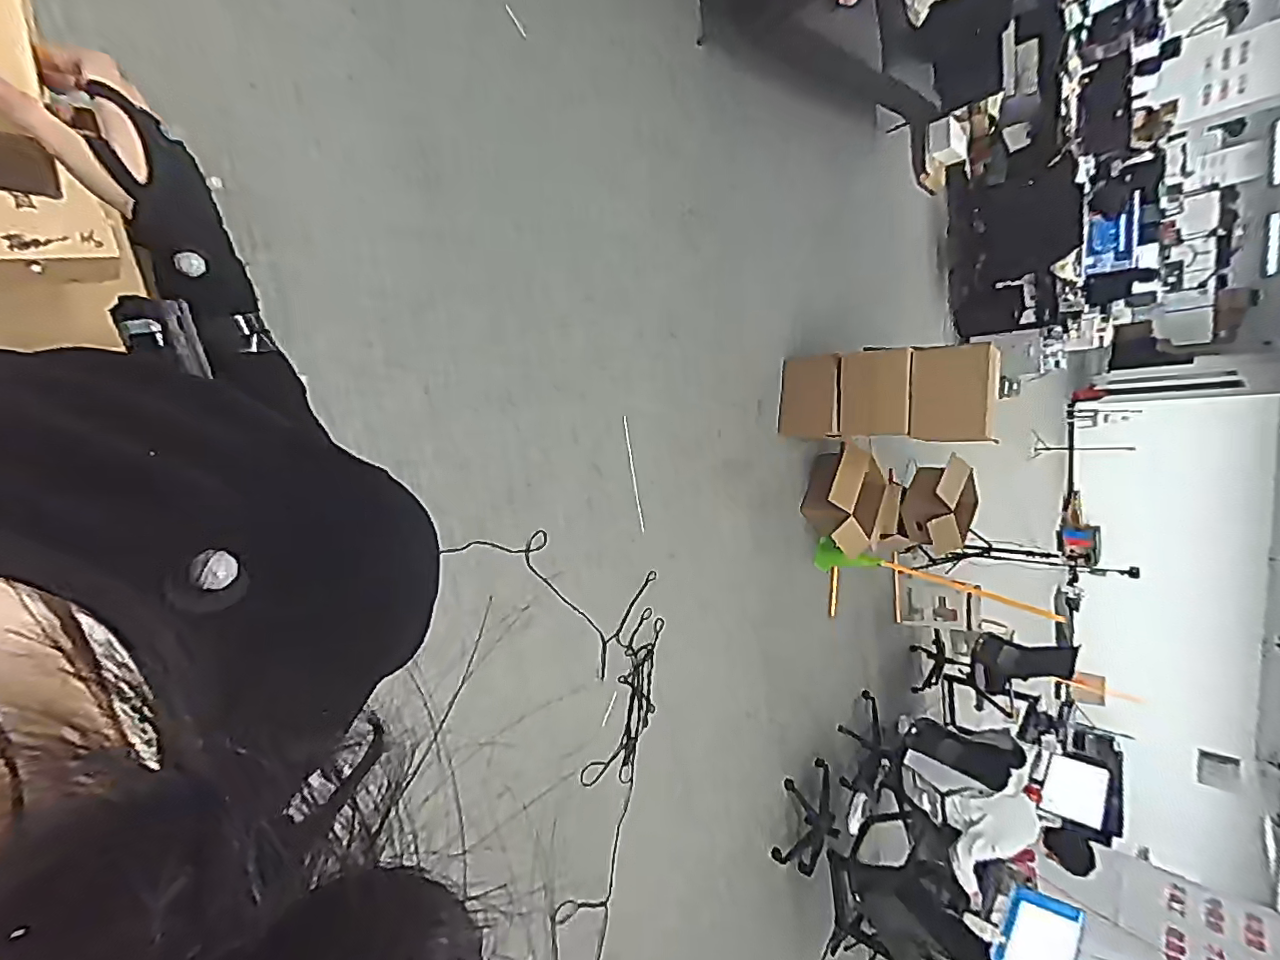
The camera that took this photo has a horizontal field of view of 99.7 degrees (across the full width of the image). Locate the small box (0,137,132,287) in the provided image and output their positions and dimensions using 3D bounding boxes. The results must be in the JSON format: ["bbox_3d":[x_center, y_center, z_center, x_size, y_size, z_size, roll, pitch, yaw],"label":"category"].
[{"bbox_3d":[-0.932,-0.413,0.841,0.168,0.176,0.179,-22,107,-40],"label":"small box"}]

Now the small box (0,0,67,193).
[{"bbox_3d":[-0.487,-0.292,0.327,0.179,0.176,0.168,-10,105,-41],"label":"small box"}]
